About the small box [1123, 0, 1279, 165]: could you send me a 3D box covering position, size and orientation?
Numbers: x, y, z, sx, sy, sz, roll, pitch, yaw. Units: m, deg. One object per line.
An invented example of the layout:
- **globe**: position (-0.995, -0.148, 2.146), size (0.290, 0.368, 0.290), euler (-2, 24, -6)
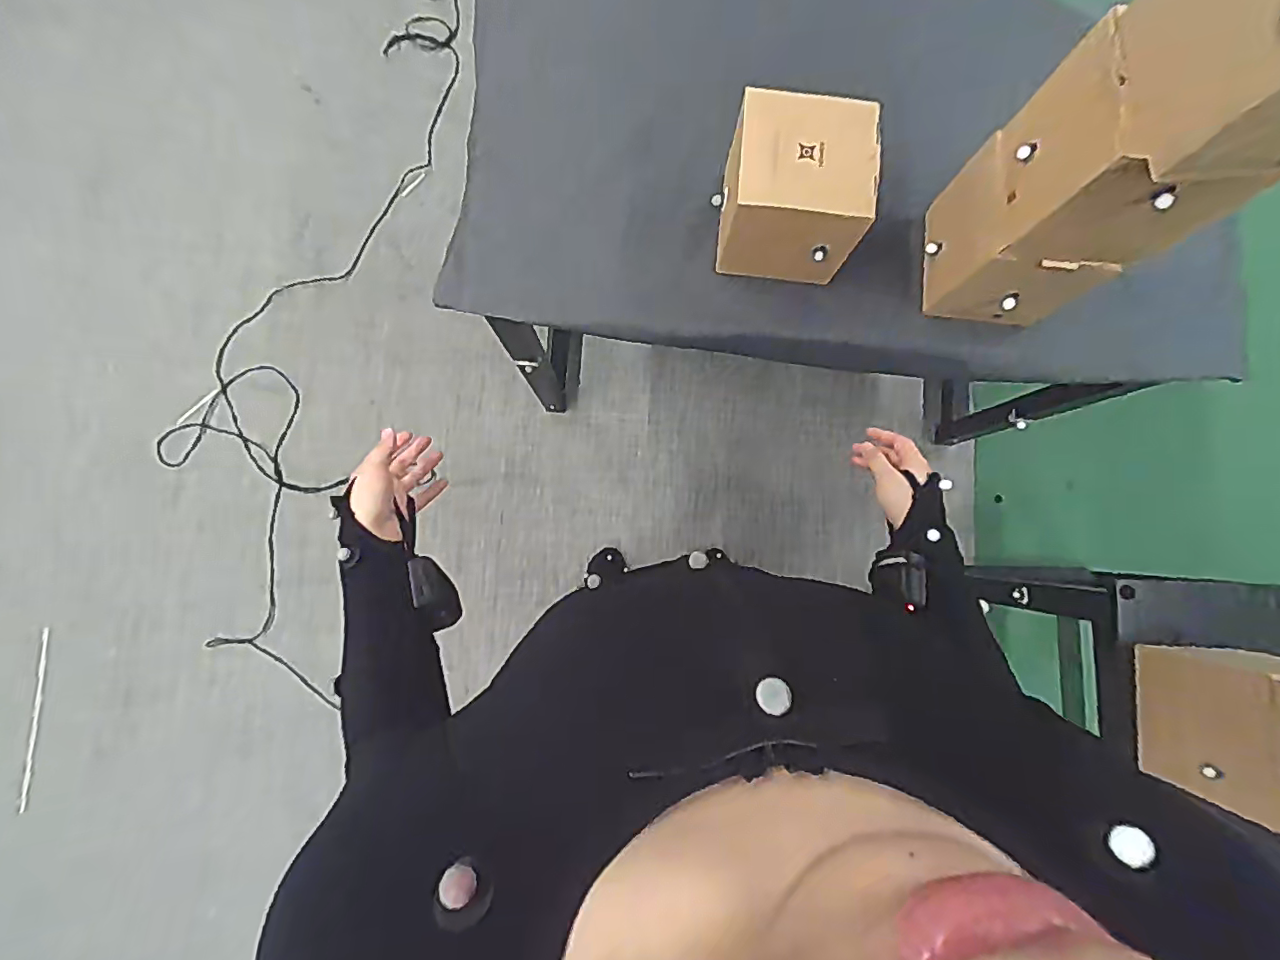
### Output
- **small box**: position (0.538, -0.374, 0.421), size (0.168, 0.176, 0.179), euler (-4, 82, -1)

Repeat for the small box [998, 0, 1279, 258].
- **small box**: position (0.529, -0.361, 0.585), size (0.179, 0.176, 0.168), euler (4, 82, 1)

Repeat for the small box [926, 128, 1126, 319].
- **small box**: position (0.519, -0.340, 0.747), size (0.168, 0.176, 0.179), euler (6, 83, 1)

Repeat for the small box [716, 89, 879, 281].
- **small box**: position (0.209, -0.396, 0.752), size (0.179, 0.176, 0.168), euler (5, 82, 1)
